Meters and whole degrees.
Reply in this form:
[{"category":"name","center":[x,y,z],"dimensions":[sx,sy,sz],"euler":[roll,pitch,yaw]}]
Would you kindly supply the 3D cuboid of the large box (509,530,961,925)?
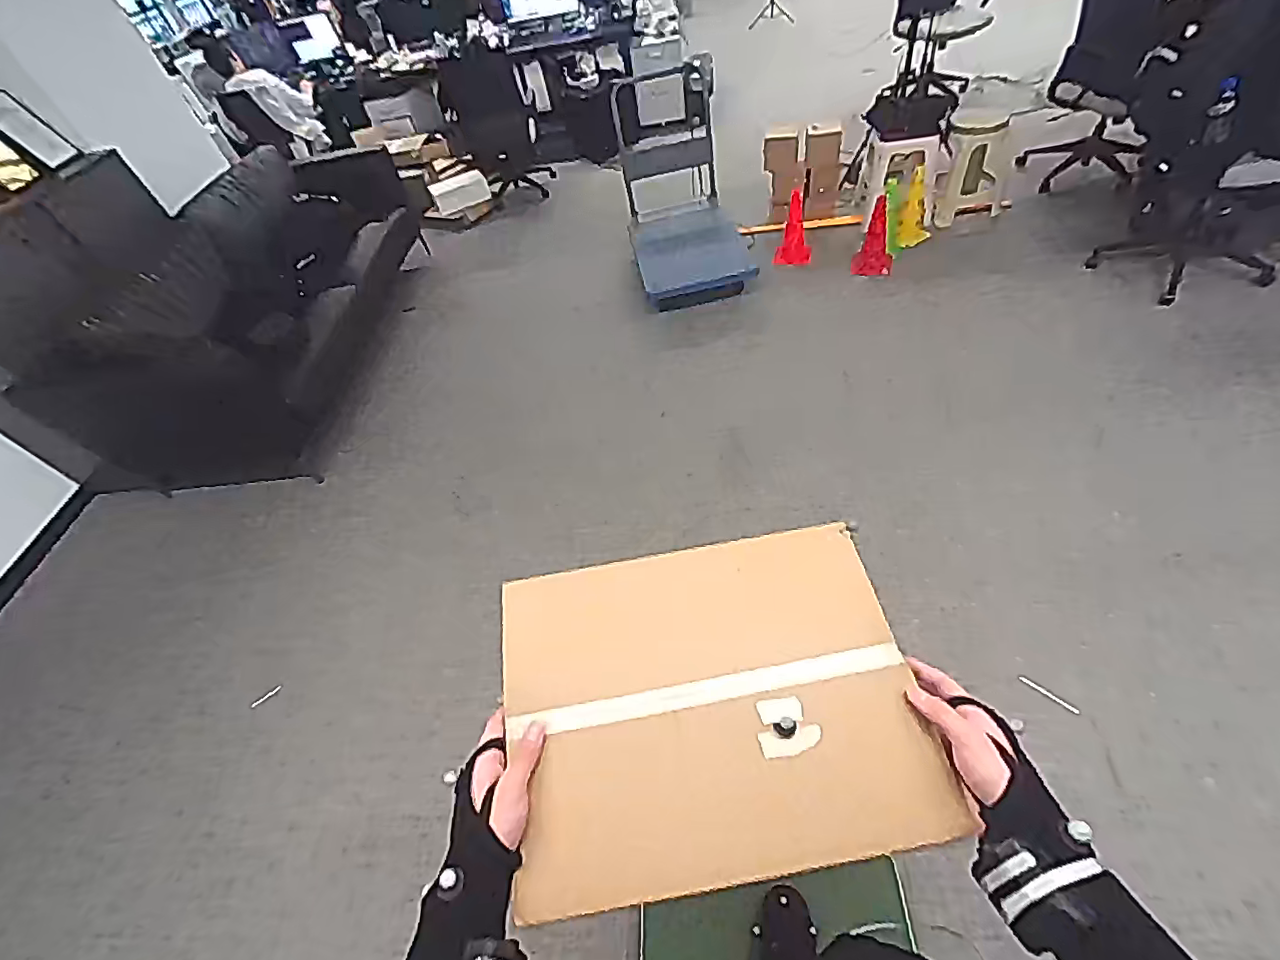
[{"category":"large box","center":[0.077,0.303,0.678],"dimensions":[0.408,0.320,0.320],"euler":[-10,57,-2]}]
